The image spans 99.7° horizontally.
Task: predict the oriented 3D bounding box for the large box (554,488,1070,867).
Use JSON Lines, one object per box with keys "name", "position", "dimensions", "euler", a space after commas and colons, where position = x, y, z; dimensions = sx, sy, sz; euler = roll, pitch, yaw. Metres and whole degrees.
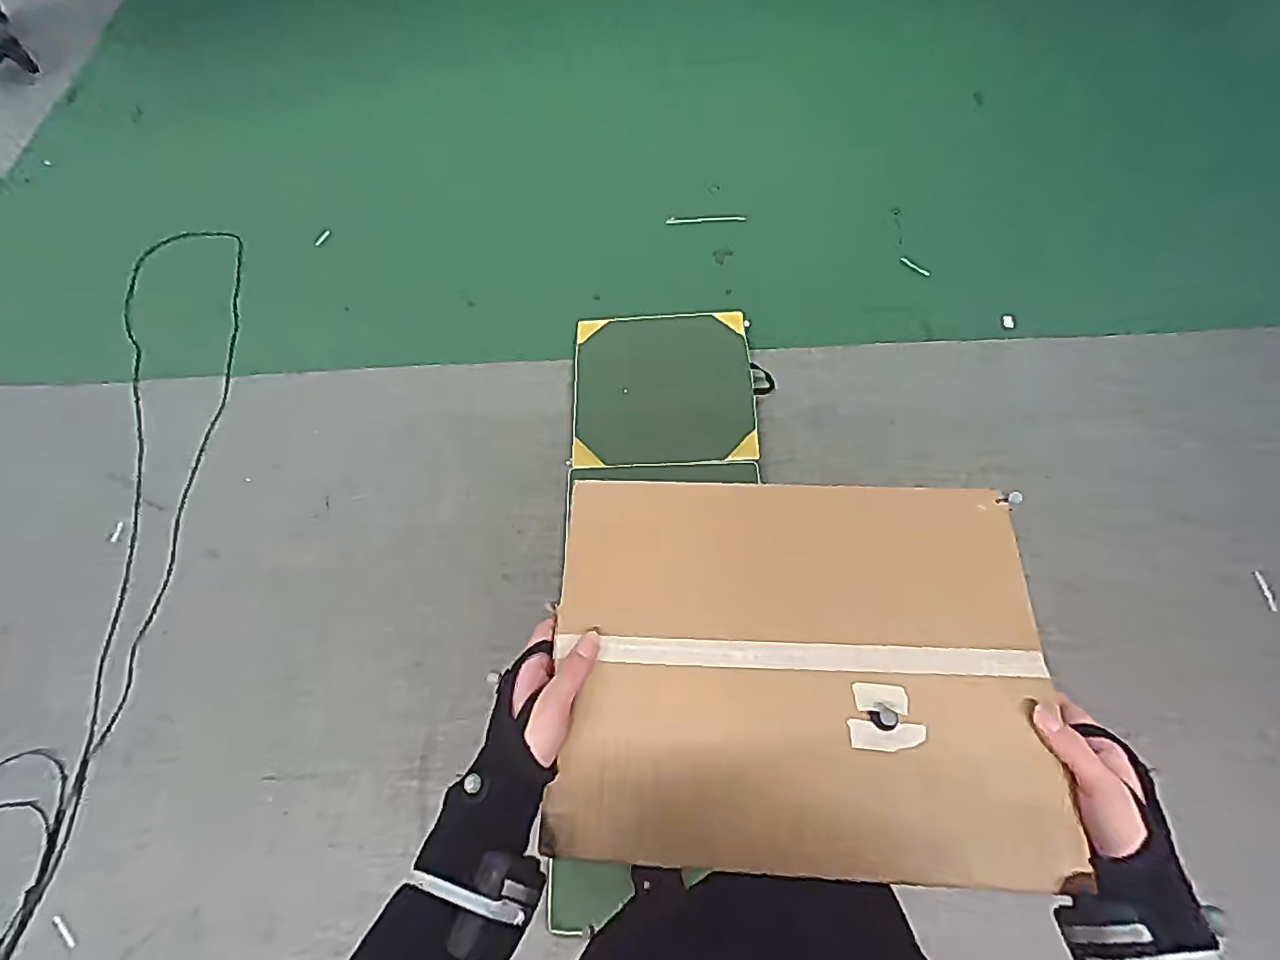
{"name": "large box", "position": [0.136, 0.210, 0.610], "dimensions": [0.408, 0.320, 0.320], "euler": [1, 67, 3]}
